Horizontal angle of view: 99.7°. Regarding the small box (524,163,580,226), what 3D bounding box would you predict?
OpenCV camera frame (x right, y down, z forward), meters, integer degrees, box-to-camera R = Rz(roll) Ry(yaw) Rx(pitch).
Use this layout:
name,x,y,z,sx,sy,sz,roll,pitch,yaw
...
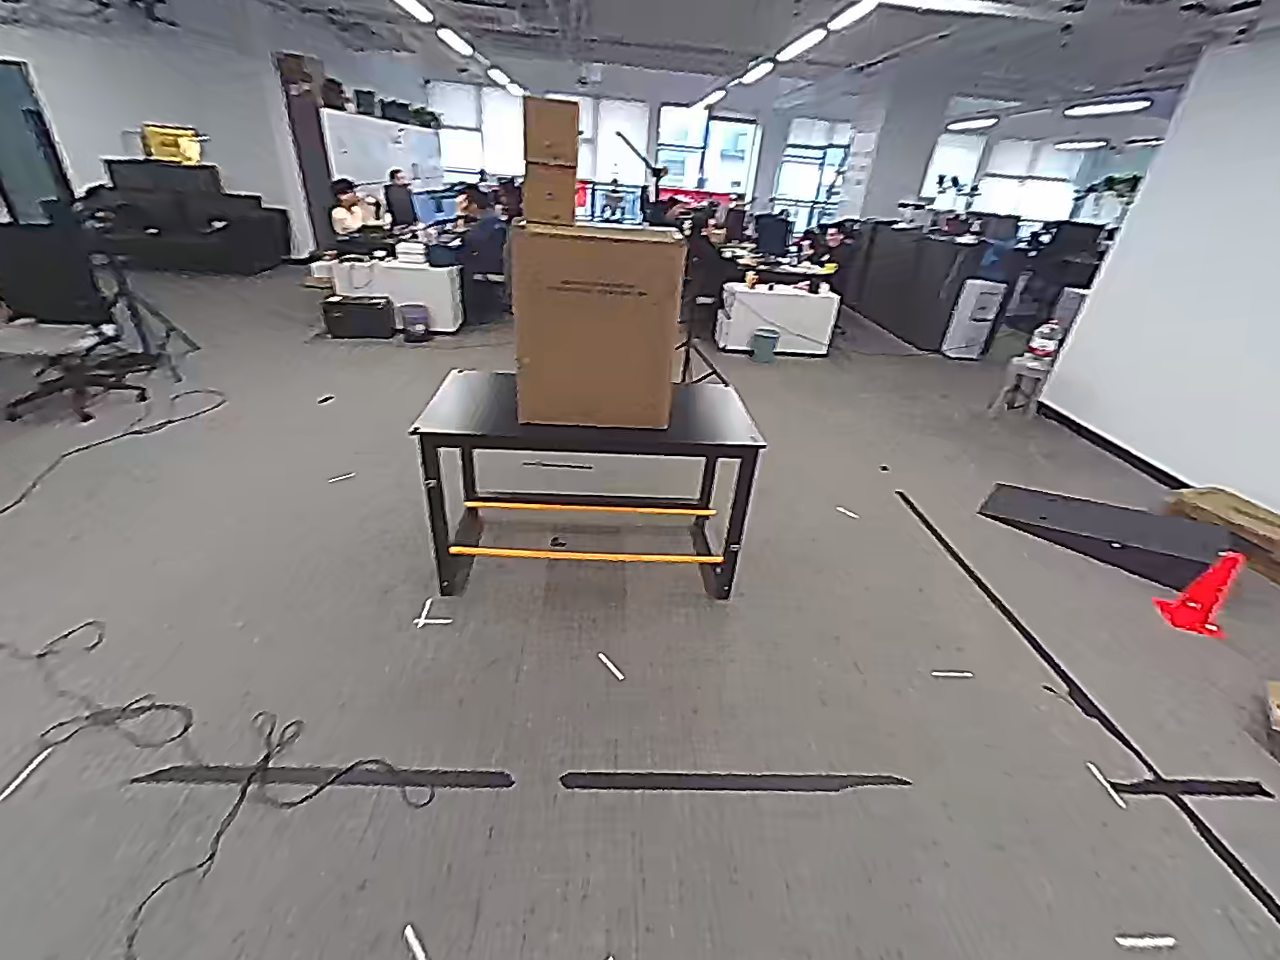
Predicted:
name,x,y,z,sx,sy,sz,roll,pitch,yaw
small box,-0.282,-0.930,1.762,0.168,0.176,0.179,3,30,-5

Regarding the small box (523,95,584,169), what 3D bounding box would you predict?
name,x,y,z,sx,sy,sz,roll,pitch,yaw
small box,-0.265,-1.065,1.667,0.168,0.176,0.179,3,30,-4
